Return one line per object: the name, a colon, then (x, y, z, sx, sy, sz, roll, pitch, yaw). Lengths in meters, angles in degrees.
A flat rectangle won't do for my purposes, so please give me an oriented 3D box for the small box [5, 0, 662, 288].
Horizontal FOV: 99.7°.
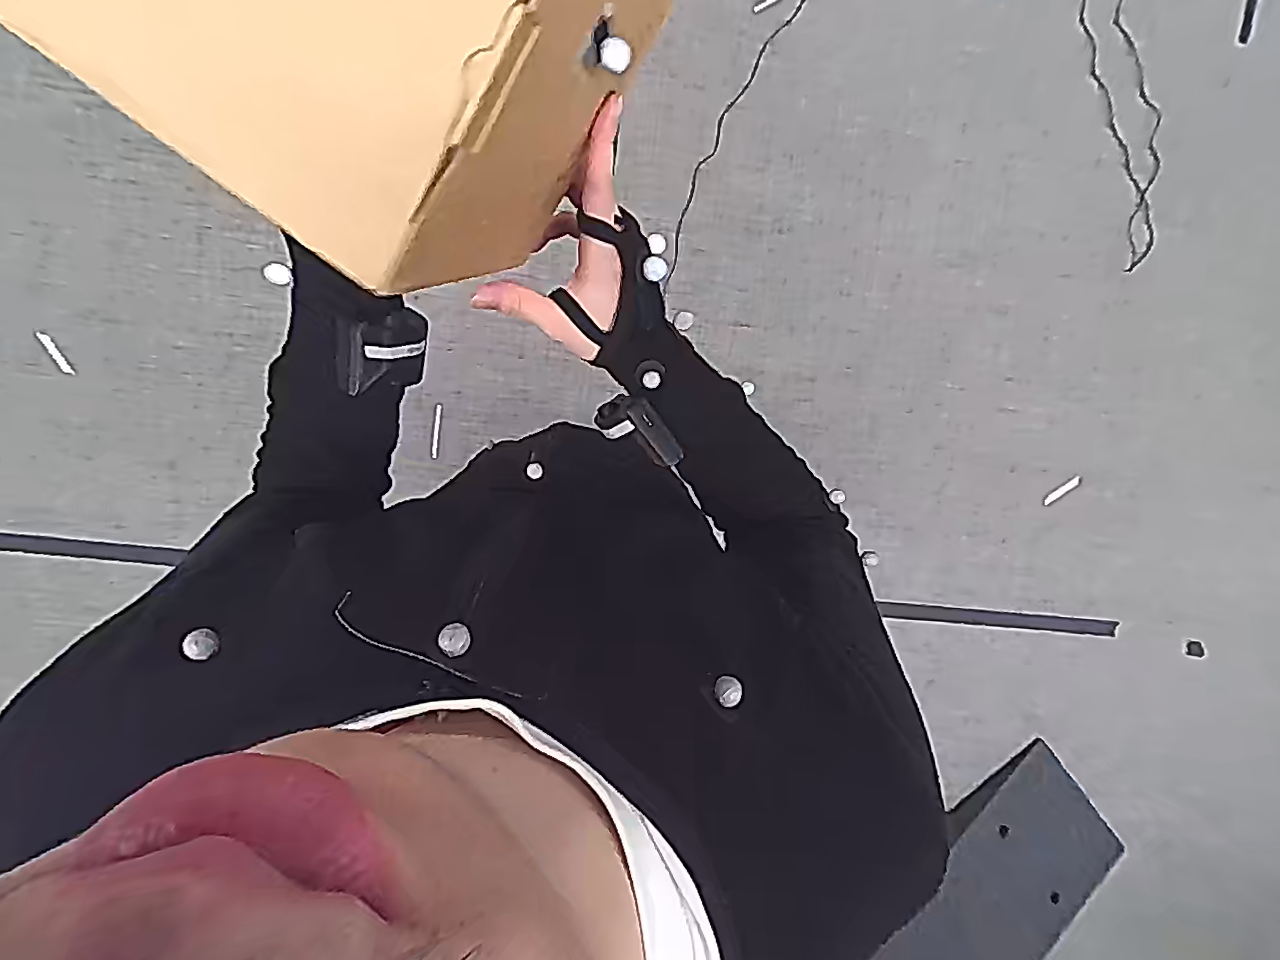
small box: (-0.105, -0.214, 0.239, 0.179, 0.176, 0.168, 36, 113, -9)
